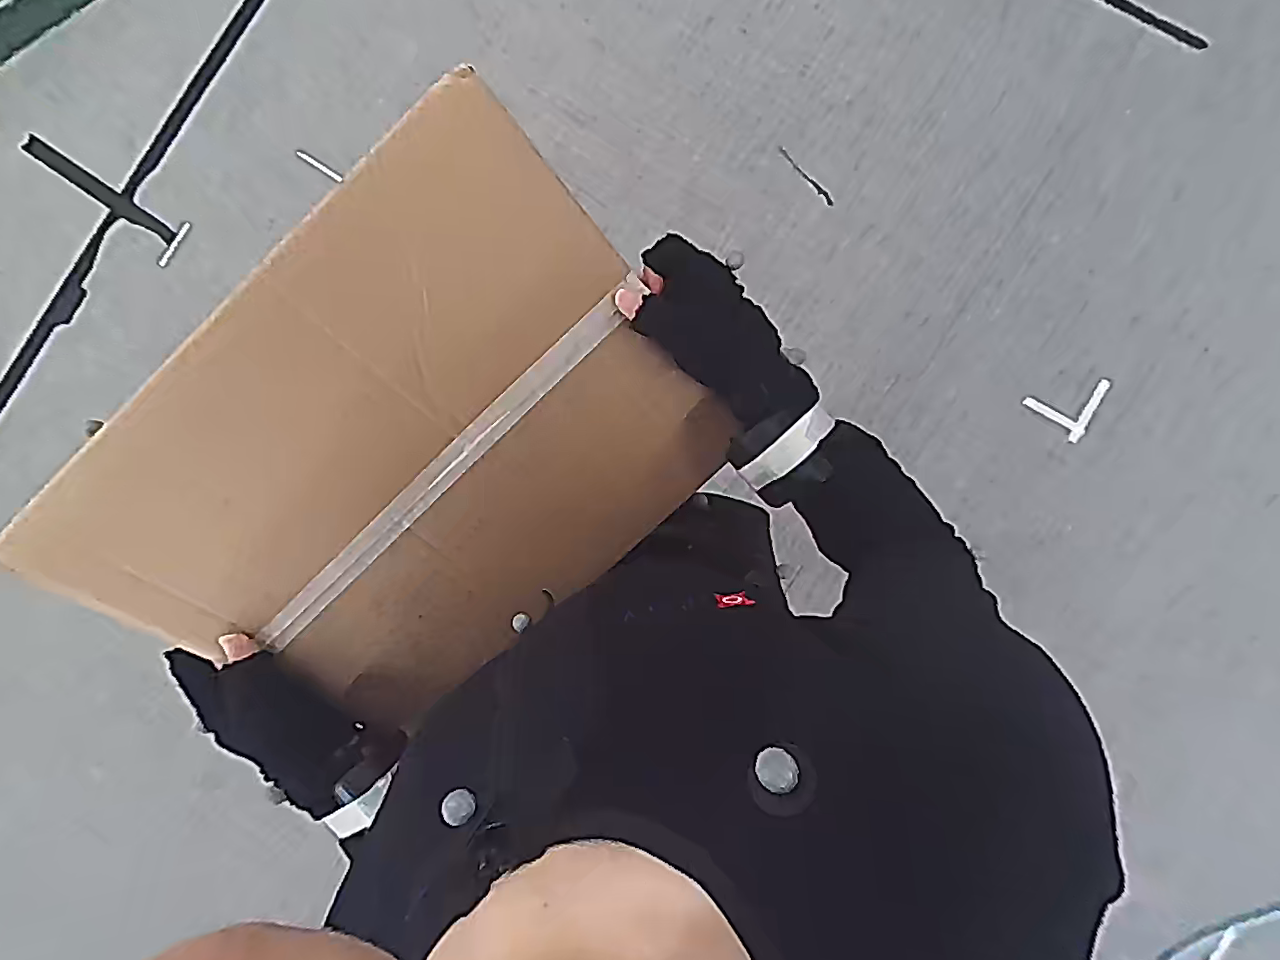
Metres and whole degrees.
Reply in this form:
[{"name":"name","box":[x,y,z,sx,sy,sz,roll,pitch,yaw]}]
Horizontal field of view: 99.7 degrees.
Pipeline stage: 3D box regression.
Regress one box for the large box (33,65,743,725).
[{"name":"large box","box":[-0.190,-0.065,0.524,0.408,0.320,0.320,-43,119,5]}]
